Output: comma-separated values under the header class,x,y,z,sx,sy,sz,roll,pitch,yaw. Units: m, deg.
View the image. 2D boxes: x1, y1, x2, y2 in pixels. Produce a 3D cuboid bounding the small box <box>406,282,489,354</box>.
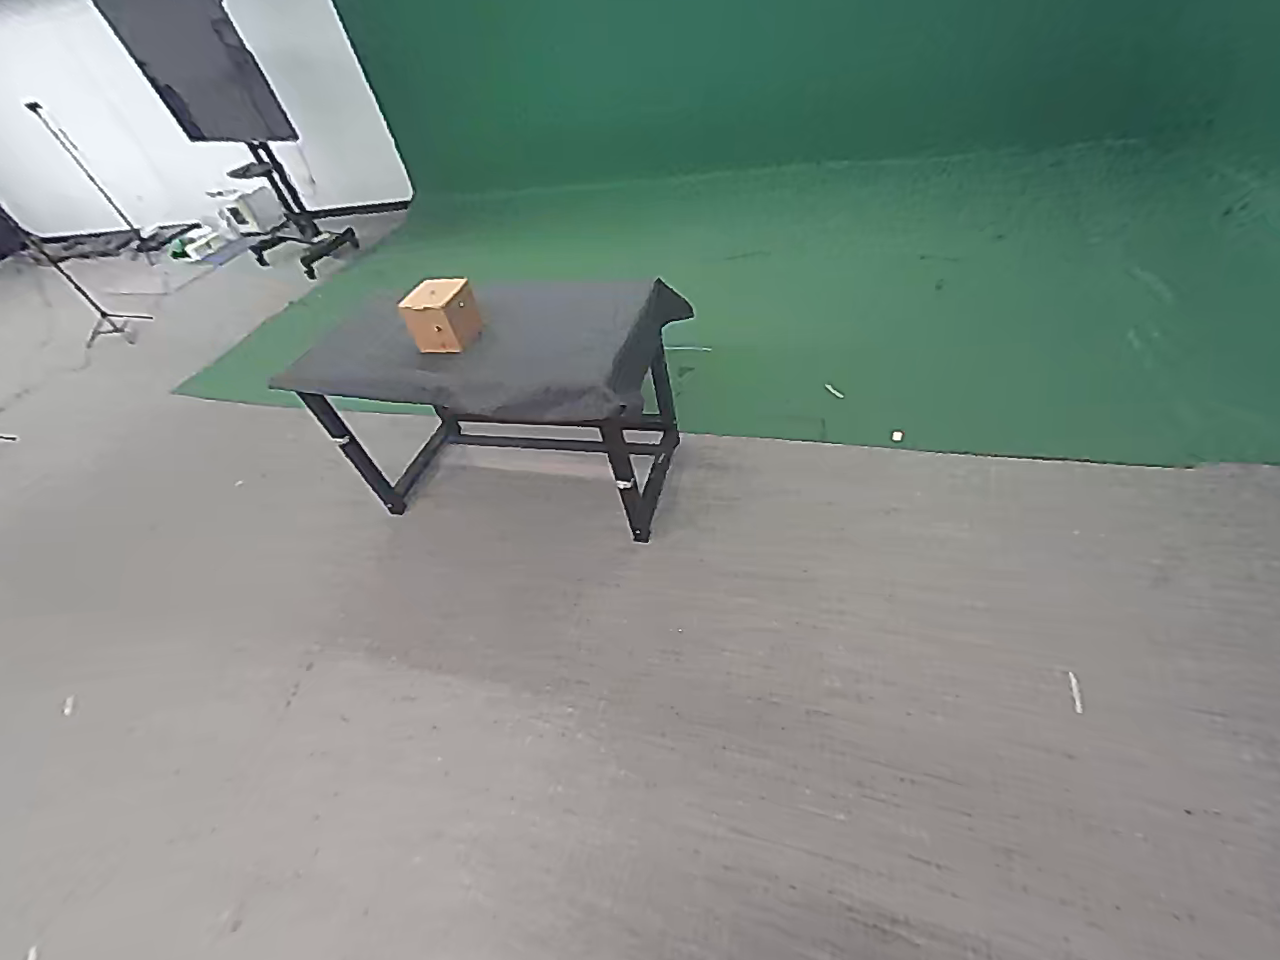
class,x,y,z,sx,sy,sz,roll,pitch,yaw
small box,-0.622,-0.529,1.775,0.168,0.176,0.179,6,47,17
